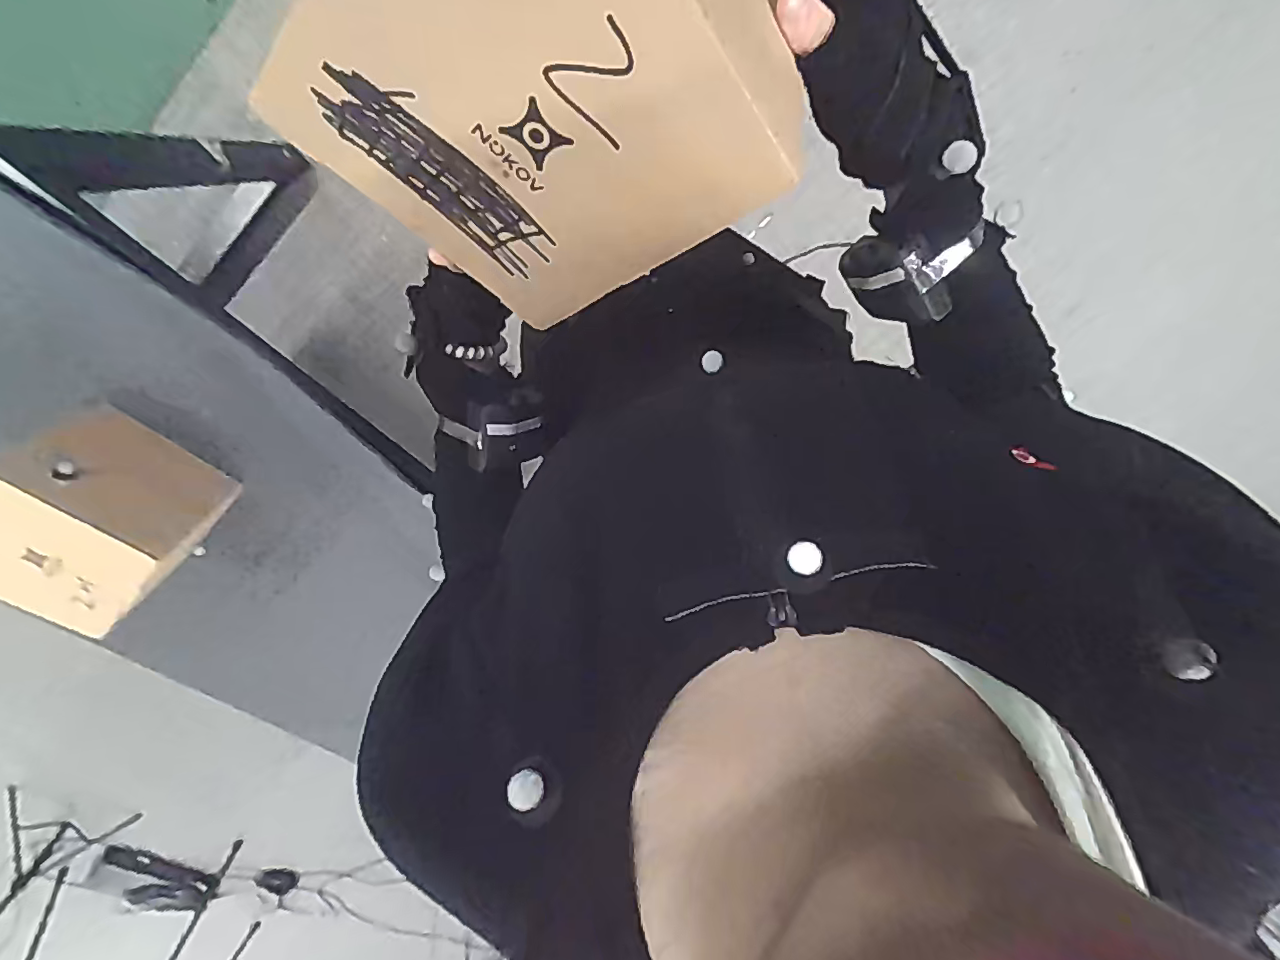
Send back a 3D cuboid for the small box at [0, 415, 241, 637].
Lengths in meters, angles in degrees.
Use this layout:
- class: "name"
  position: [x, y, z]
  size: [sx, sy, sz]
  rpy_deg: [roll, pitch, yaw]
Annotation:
- class: "small box"
  position: [-0.641, 0.044, 0.646]
  size: [0.168, 0.176, 0.179]
  rpy_deg: [-40, 116, 17]
